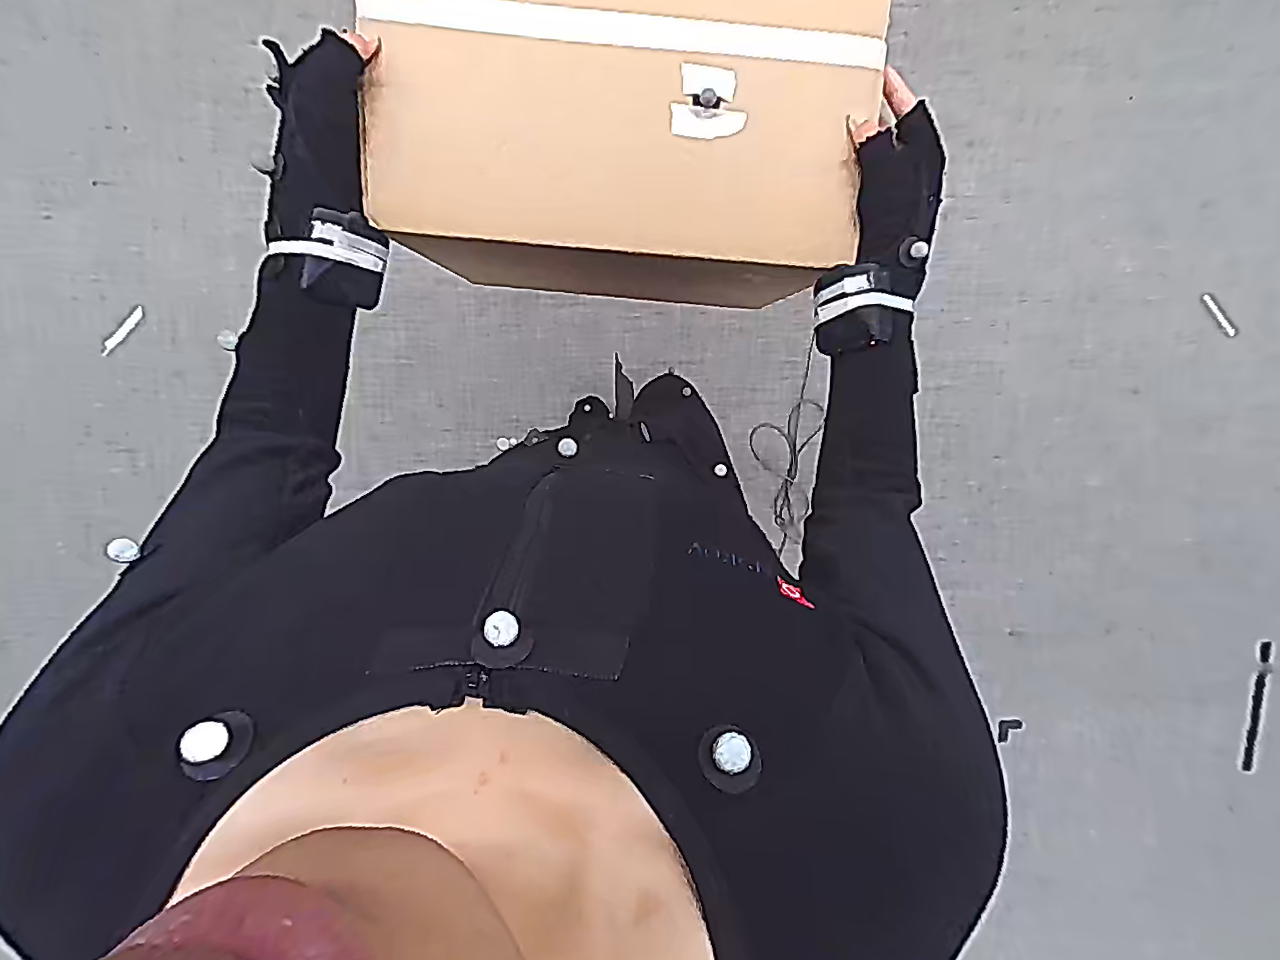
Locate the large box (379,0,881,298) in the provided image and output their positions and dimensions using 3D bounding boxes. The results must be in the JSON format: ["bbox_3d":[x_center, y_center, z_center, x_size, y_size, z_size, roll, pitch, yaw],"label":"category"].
[{"bbox_3d":[-0.015,-0.384,0.578,0.408,0.320,0.320,3,102,-3],"label":"large box"}]
